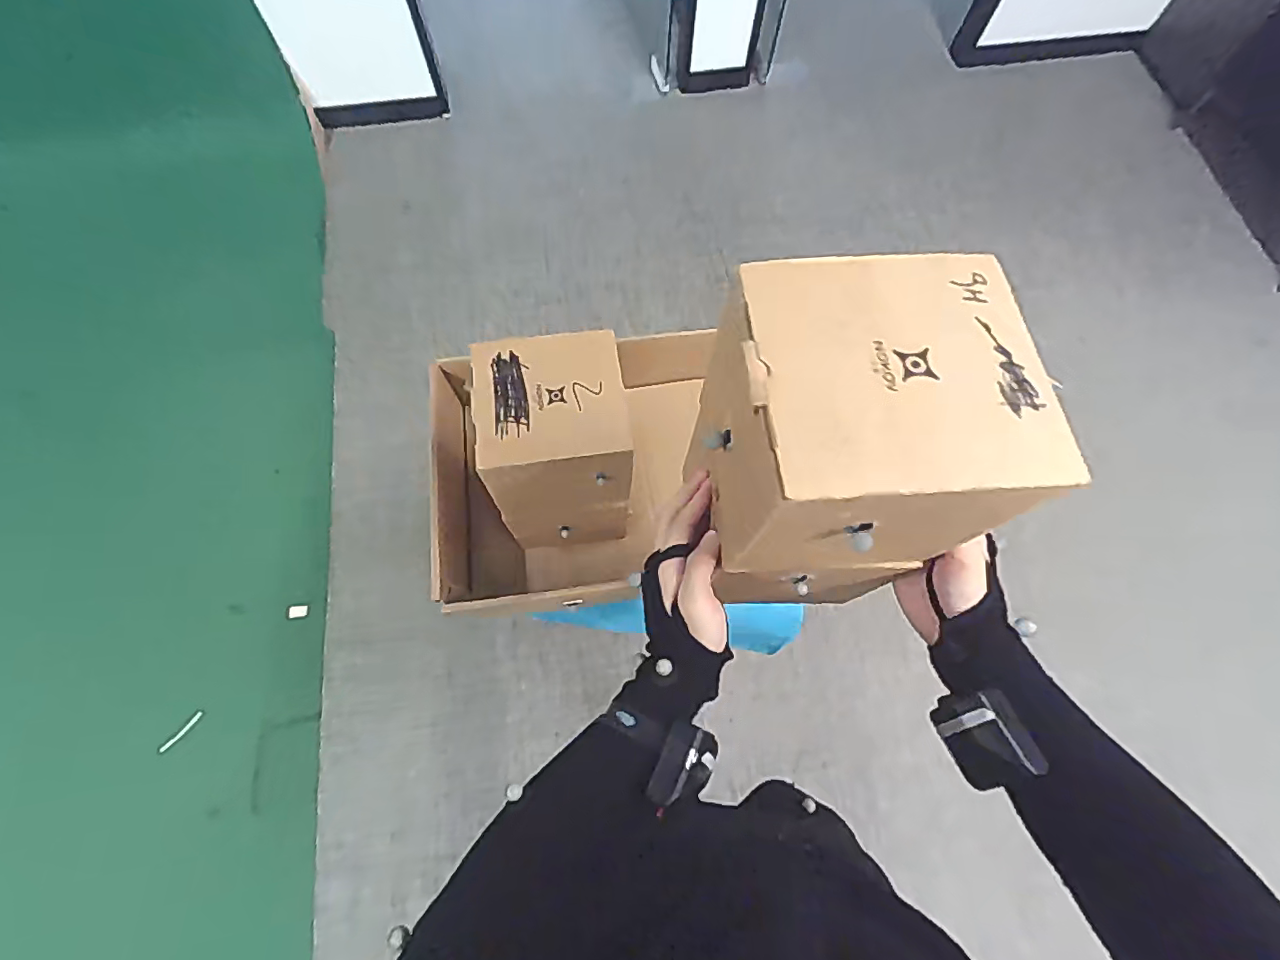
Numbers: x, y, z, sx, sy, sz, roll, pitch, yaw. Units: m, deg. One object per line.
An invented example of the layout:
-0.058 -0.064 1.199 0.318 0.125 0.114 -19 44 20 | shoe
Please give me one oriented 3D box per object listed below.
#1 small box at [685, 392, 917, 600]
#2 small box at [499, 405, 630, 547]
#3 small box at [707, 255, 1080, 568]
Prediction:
0.139 0.025 0.546 0.179 0.176 0.168 1 68 -3 | small box
-0.115 -0.001 0.842 0.179 0.176 0.168 -6 69 -6 | small box
0.148 -0.037 0.395 0.179 0.176 0.168 -4 69 -4 | small box
